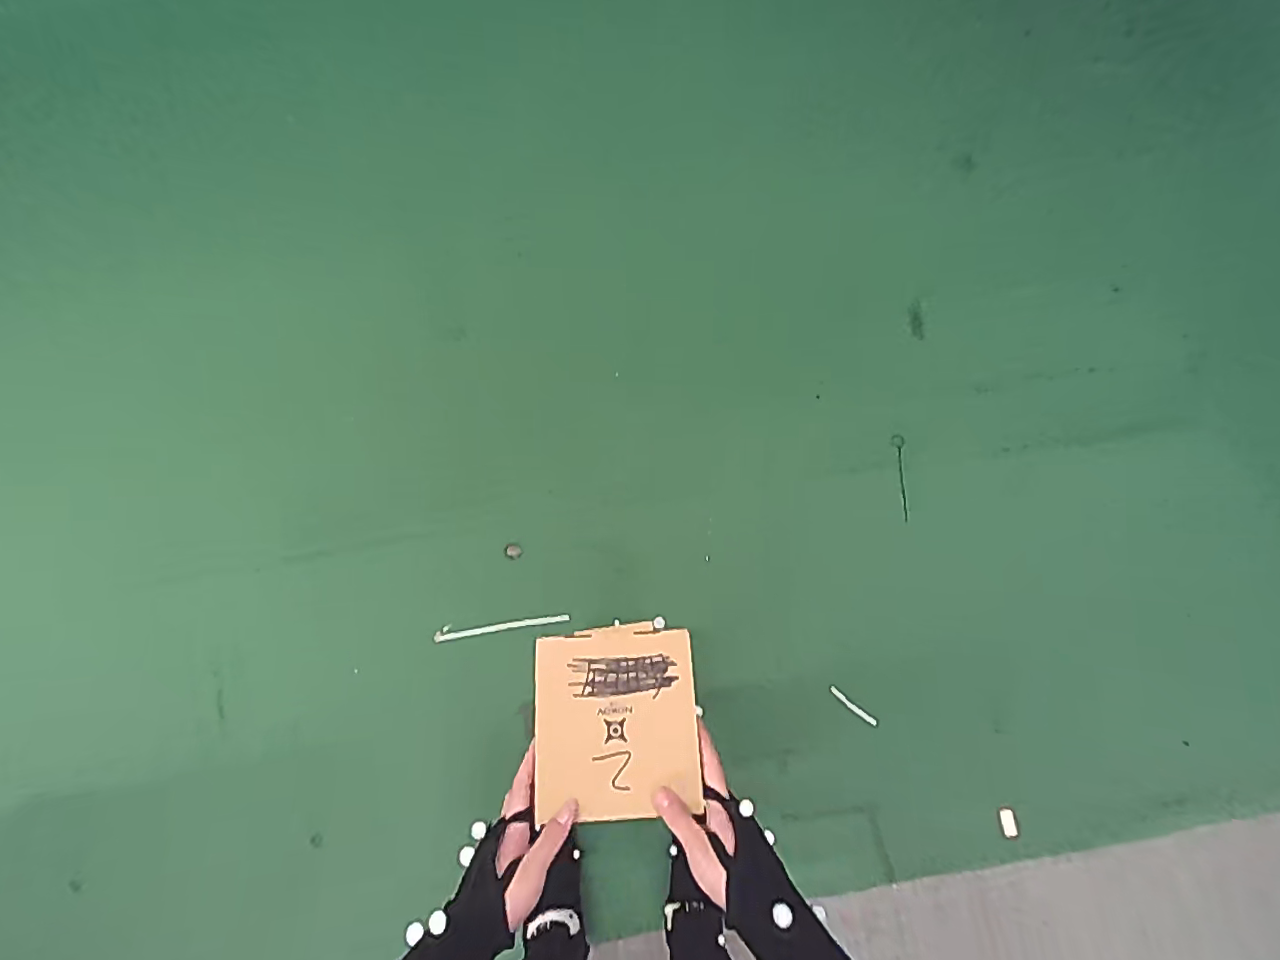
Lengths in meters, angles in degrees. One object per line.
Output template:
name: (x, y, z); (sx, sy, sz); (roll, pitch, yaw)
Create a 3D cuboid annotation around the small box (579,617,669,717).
small box: (-0.034, 0.400, 1.163); (0.168, 0.176, 0.179); (-8, 73, -1)
